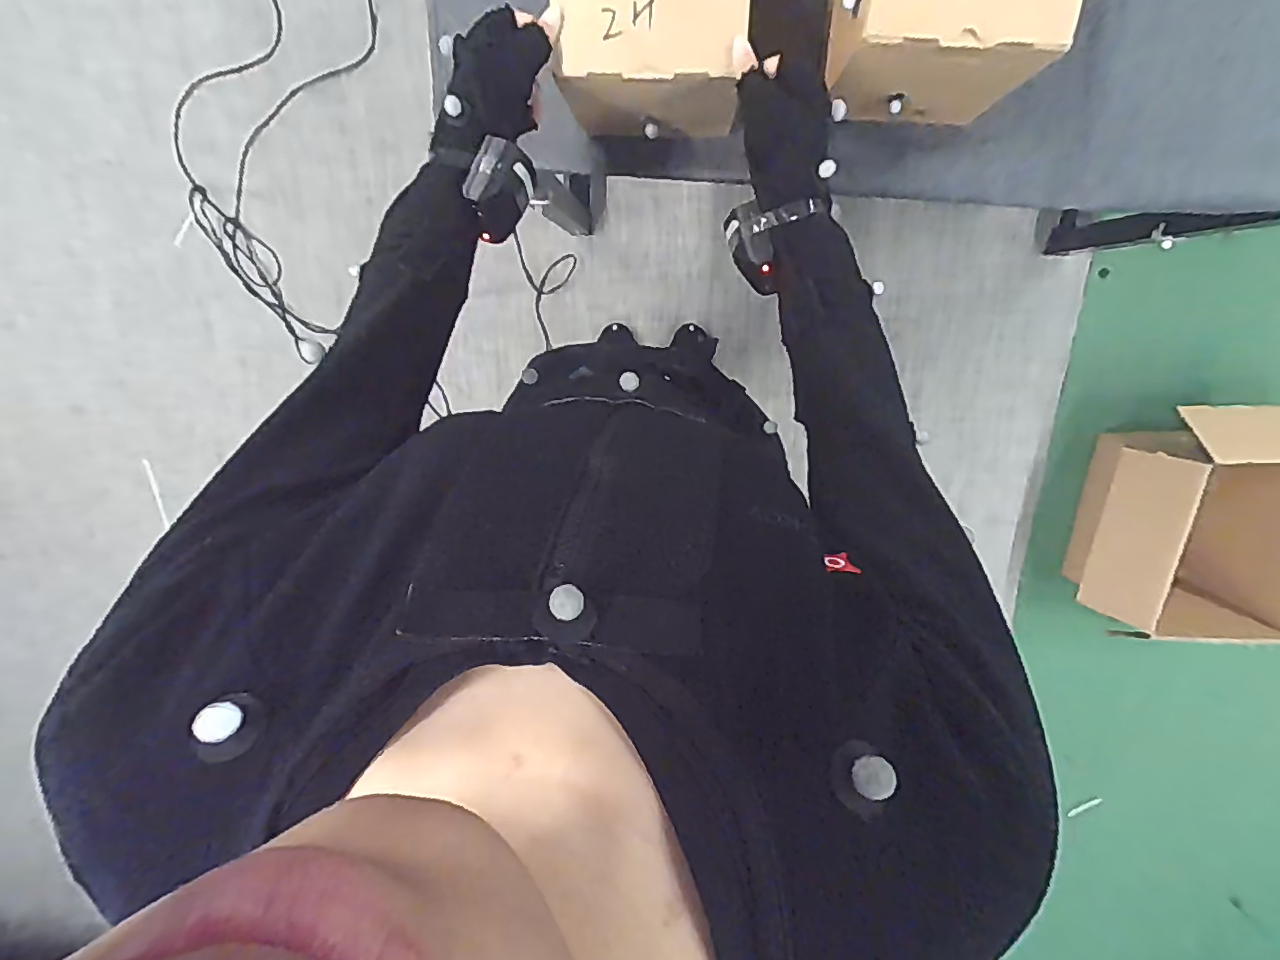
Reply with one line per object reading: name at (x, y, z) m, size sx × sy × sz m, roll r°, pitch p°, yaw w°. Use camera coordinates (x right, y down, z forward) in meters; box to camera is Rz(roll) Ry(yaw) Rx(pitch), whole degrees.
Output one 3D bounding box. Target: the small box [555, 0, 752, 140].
small box at (0.016, -0.449, 0.512) m, size 0.168 × 0.176 × 0.179 m, roll 3°, pitch 108°, yaw 3°
